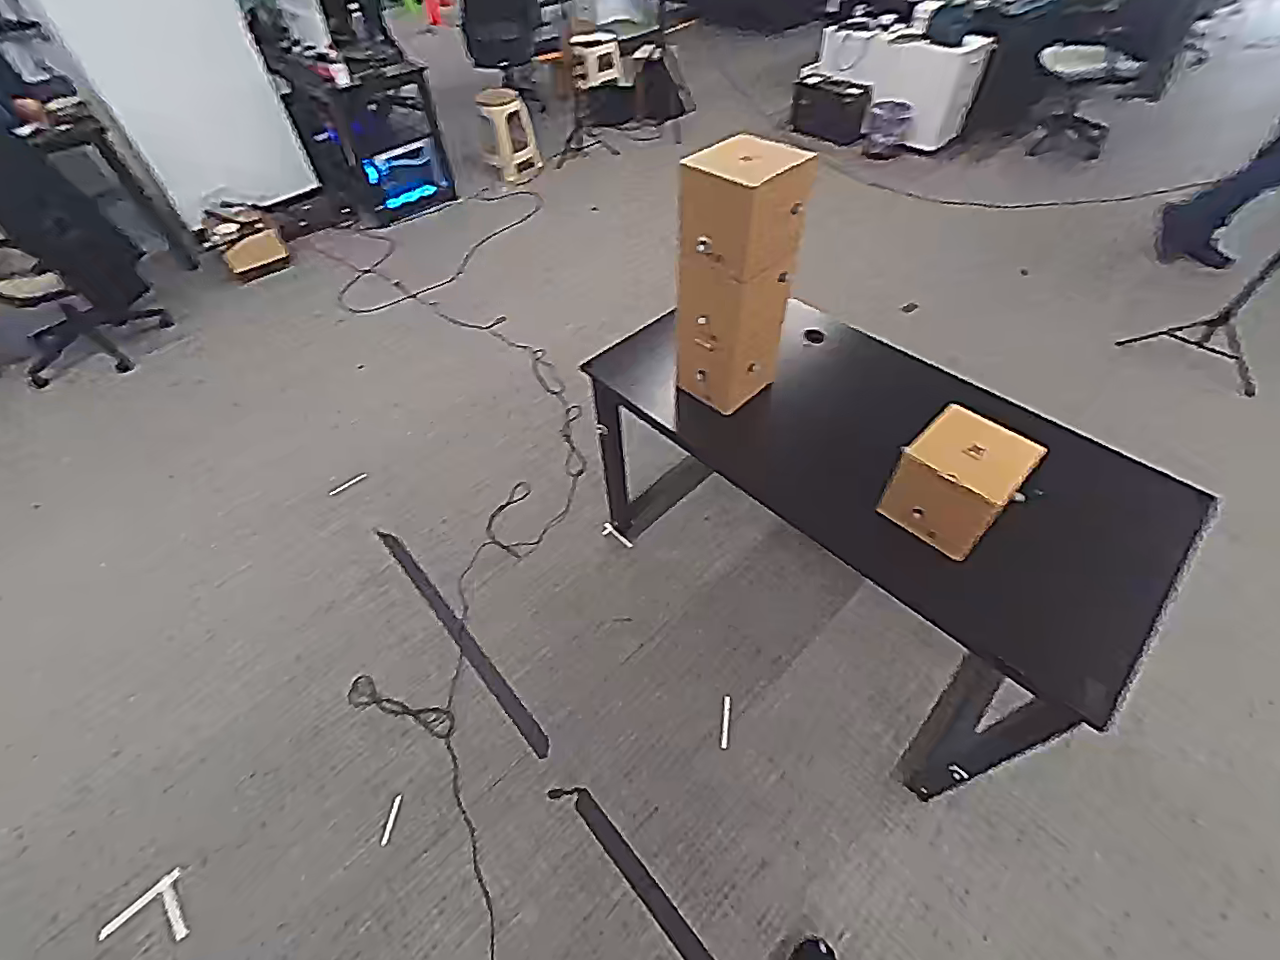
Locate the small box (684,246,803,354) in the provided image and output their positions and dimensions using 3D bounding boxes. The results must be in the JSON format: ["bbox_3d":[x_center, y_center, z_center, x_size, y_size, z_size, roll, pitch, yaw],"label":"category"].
[{"bbox_3d":[0.201,-0.390,1.104,0.179,0.176,0.168,-38,58,-25],"label":"small box"}]

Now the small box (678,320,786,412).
[{"bbox_3d":[0.205,-0.285,1.231,0.168,0.176,0.179,37,62,28],"label":"small box"}]

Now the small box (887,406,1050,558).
[{"bbox_3d":[0.579,0.004,0.975,0.179,0.176,0.168,-38,58,-24],"label":"small box"}]

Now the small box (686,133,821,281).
[{"bbox_3d":[0.194,-0.492,0.978,0.179,0.176,0.168,-39,58,-25],"label":"small box"}]
